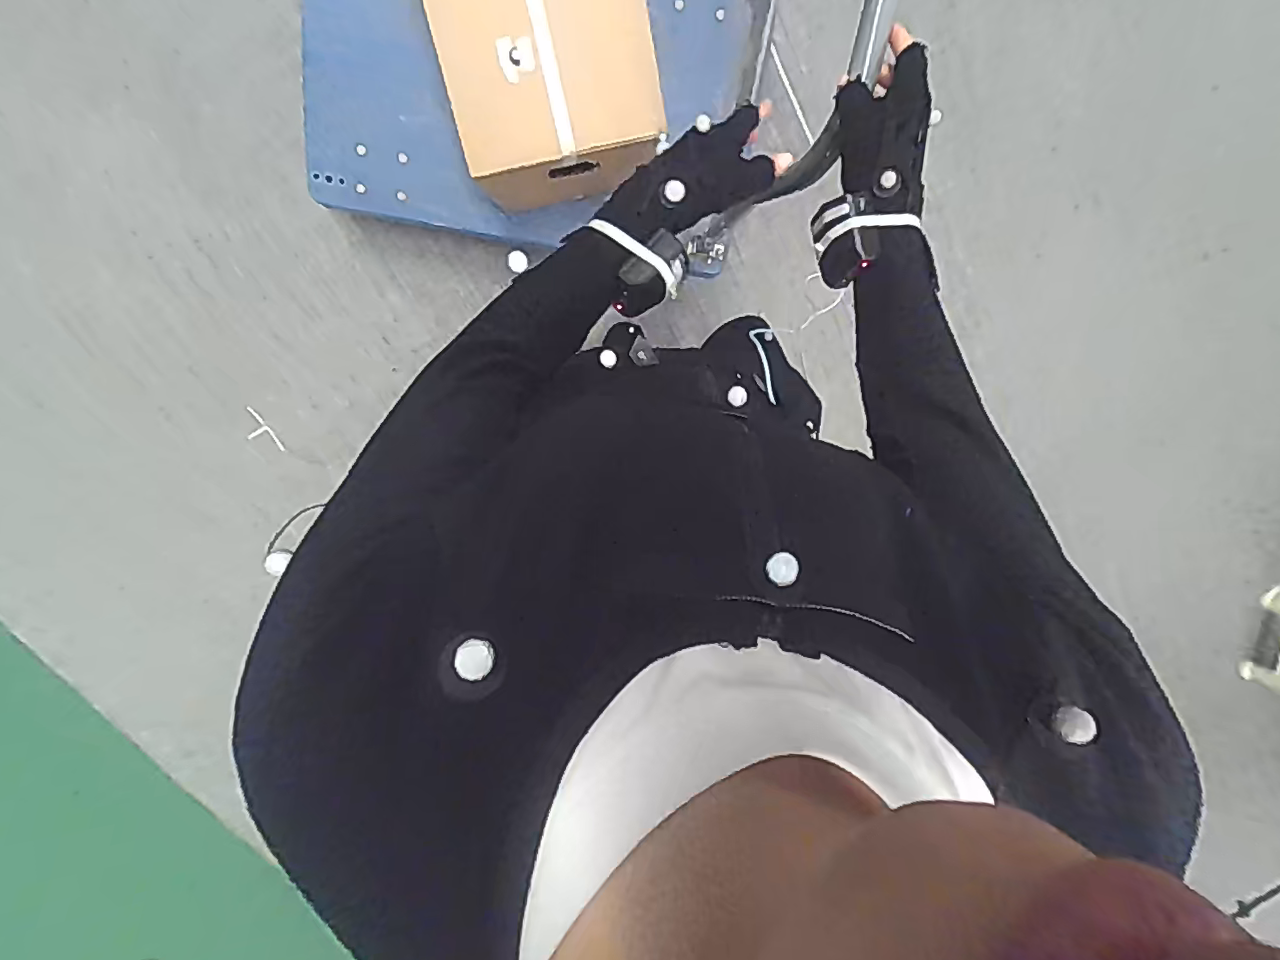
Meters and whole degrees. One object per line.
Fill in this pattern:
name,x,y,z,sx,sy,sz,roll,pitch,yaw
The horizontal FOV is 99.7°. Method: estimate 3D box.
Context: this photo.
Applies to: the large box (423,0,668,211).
large box,-0.159,-0.731,0.923,0.320,0.320,0.408,-13,108,2
